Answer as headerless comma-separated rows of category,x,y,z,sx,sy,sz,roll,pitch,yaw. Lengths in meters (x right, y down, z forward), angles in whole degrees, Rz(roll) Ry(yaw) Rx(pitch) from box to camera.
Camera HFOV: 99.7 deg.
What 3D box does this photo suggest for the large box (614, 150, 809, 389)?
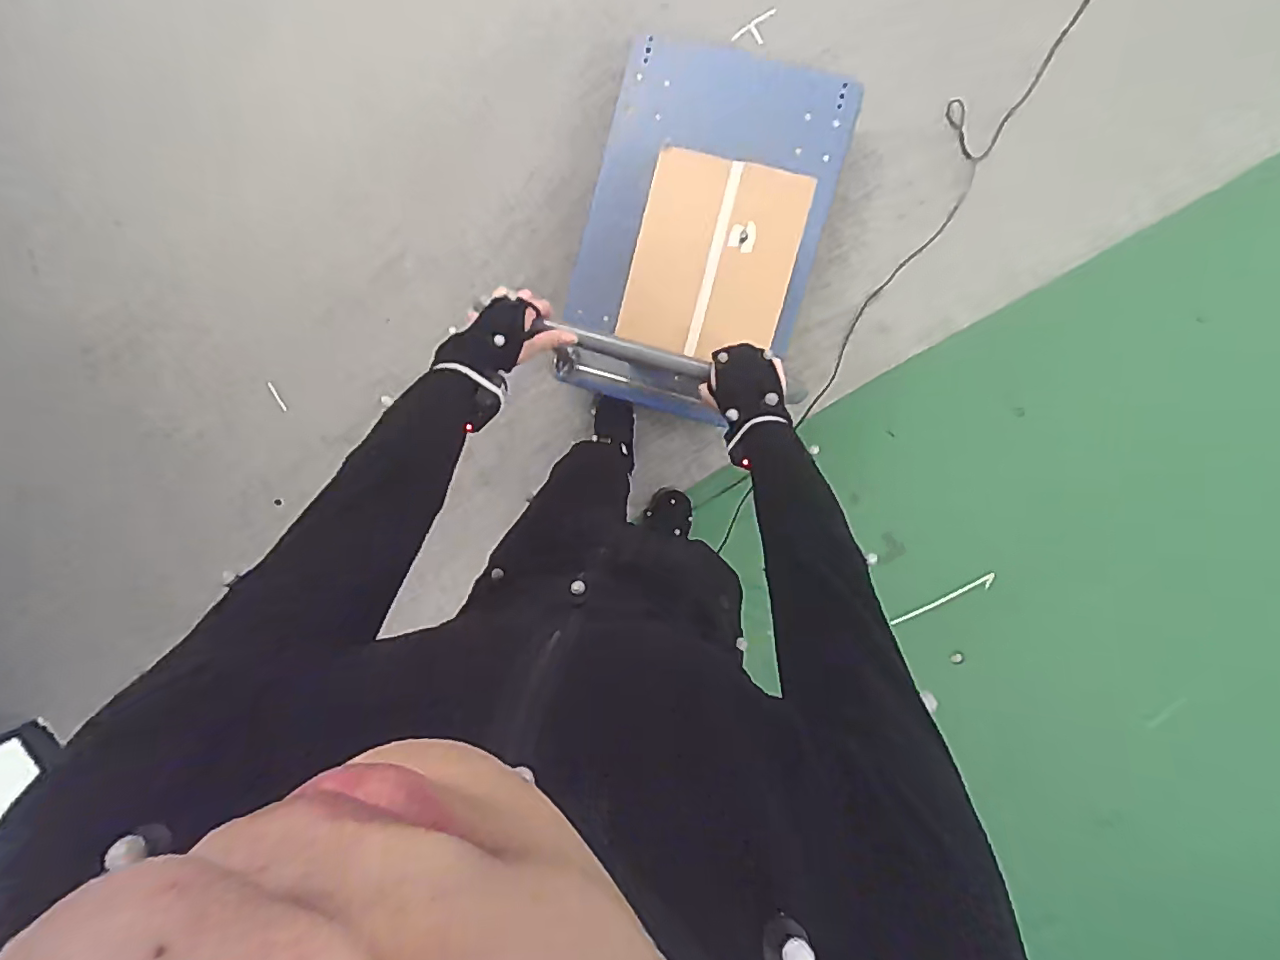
large box,0.153,-0.445,1.240,0.320,0.320,0.408,15,97,3
